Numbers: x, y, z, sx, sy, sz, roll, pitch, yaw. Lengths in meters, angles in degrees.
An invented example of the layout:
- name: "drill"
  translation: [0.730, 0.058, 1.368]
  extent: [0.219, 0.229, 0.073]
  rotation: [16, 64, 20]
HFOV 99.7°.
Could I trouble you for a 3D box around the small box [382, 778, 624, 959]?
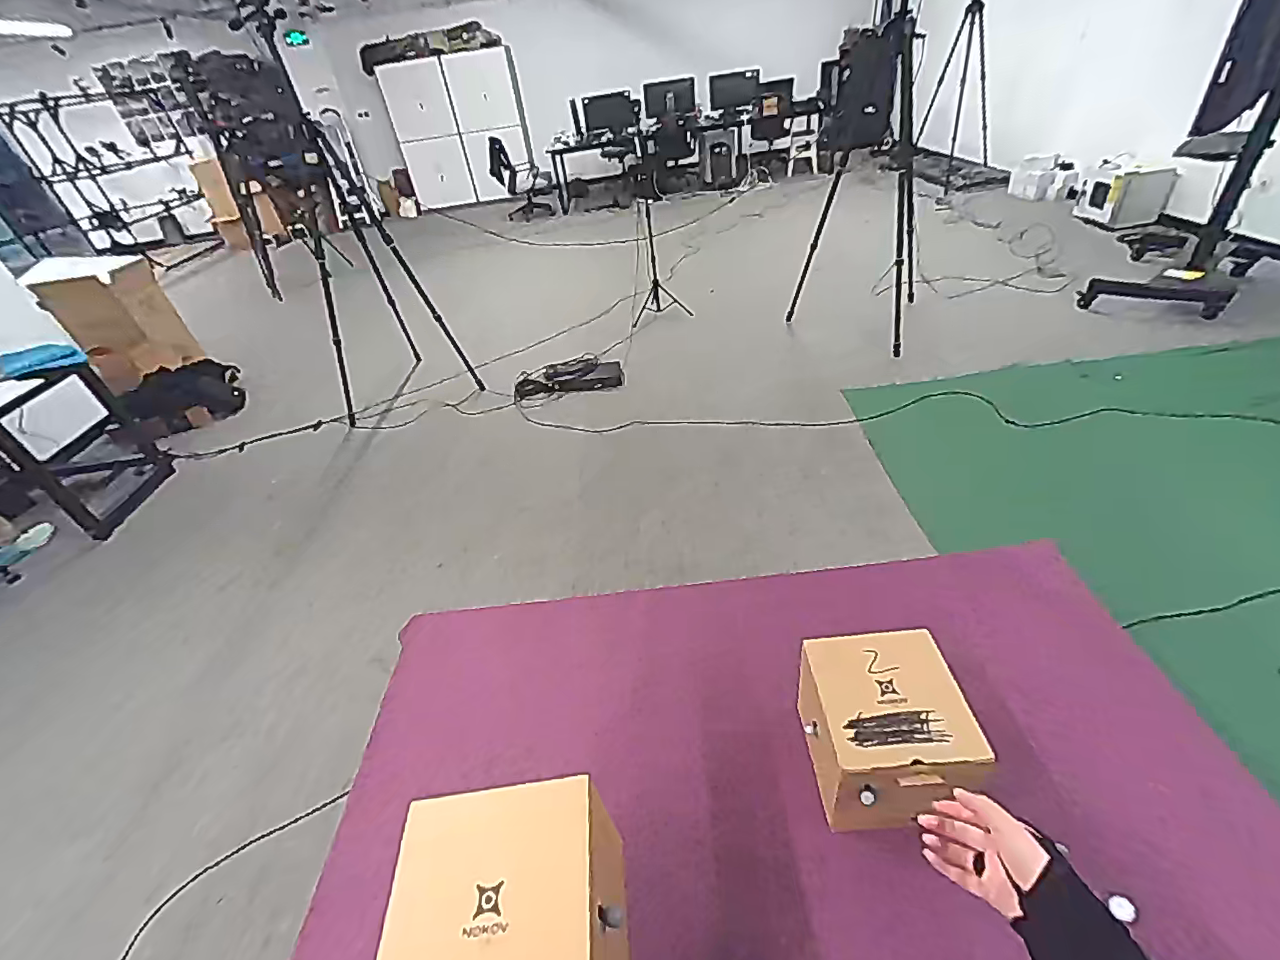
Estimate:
- name: "small box"
  translation: [-0.109, 0.401, 0.484]
  extent: [0.168, 0.176, 0.179]
  rotation: [-10, 40, 2]
